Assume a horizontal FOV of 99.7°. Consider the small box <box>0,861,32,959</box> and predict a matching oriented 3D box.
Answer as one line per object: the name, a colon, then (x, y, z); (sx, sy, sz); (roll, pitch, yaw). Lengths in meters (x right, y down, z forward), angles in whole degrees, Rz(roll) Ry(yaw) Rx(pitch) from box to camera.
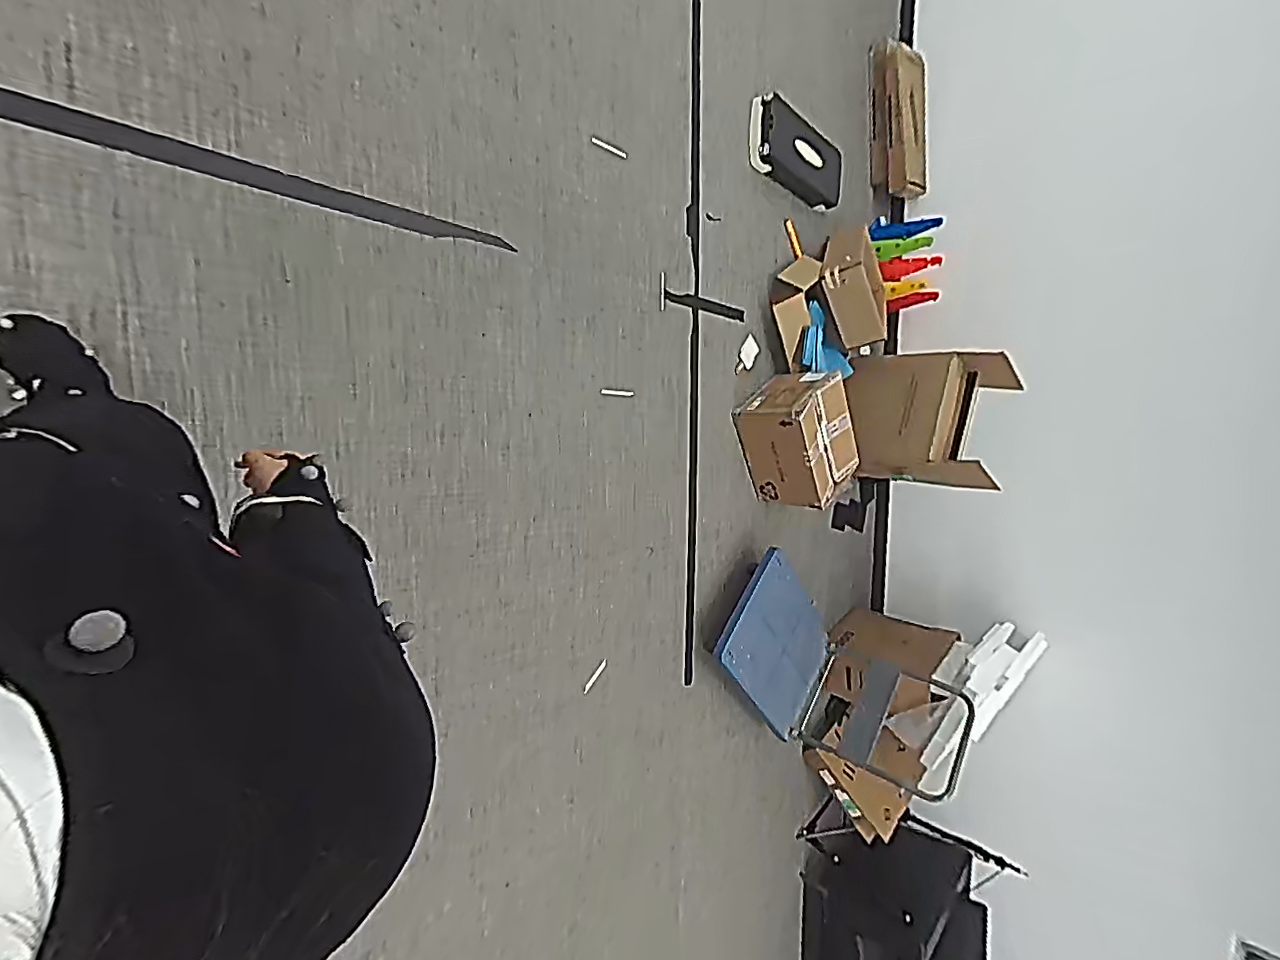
small box: (-1.133, 0.780, 0.878); (0.179, 0.176, 0.168); (-7, 100, -46)
